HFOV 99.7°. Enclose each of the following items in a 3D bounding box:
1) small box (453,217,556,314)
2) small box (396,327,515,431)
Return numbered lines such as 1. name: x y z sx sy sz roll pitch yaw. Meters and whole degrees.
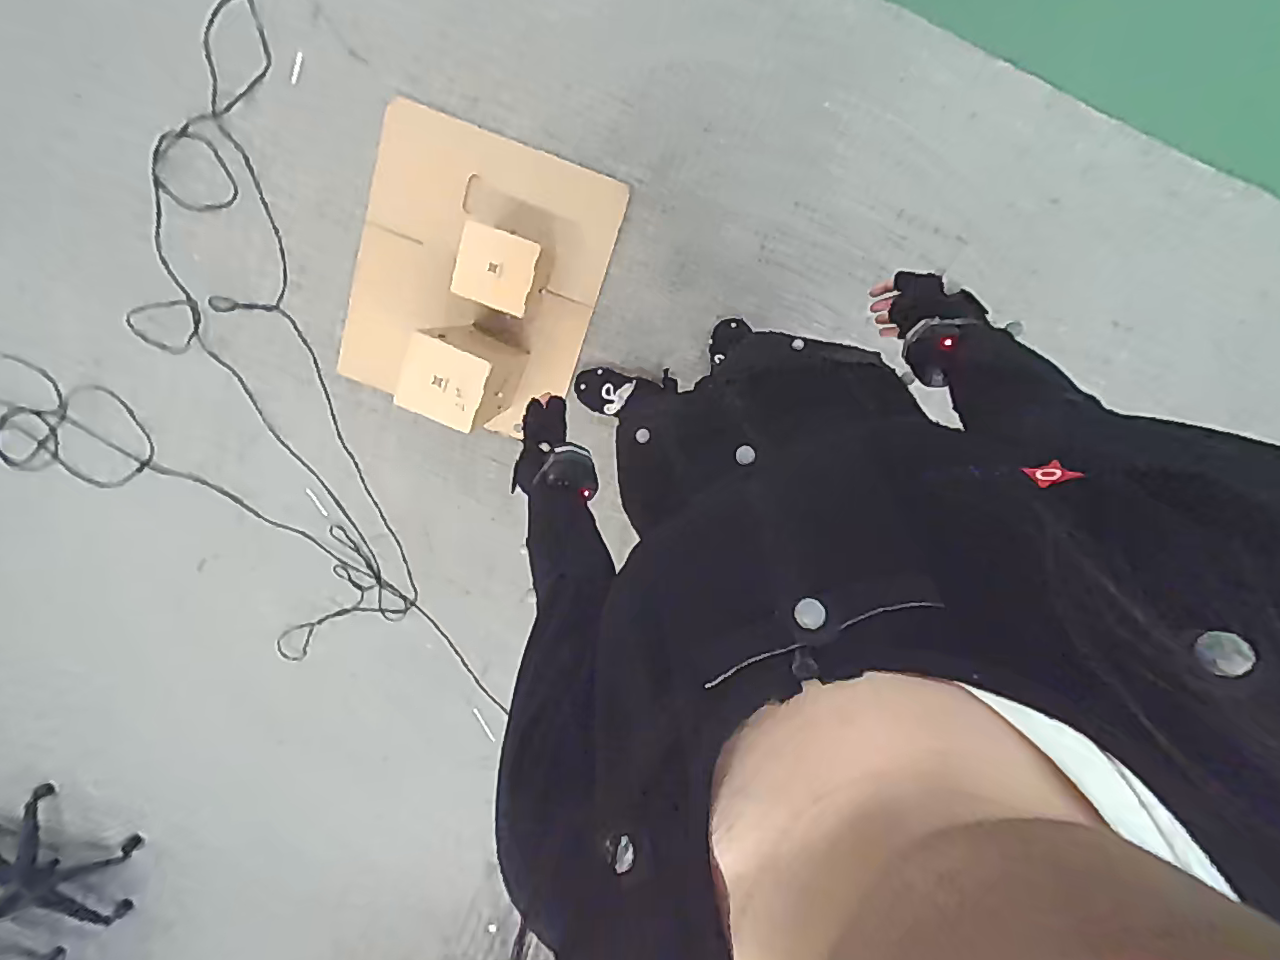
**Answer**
1. small box: -0.317 -0.501 1.289 0.179 0.176 0.168 18 107 -3
2. small box: -0.402 -0.229 1.202 0.179 0.176 0.168 23 108 -4
